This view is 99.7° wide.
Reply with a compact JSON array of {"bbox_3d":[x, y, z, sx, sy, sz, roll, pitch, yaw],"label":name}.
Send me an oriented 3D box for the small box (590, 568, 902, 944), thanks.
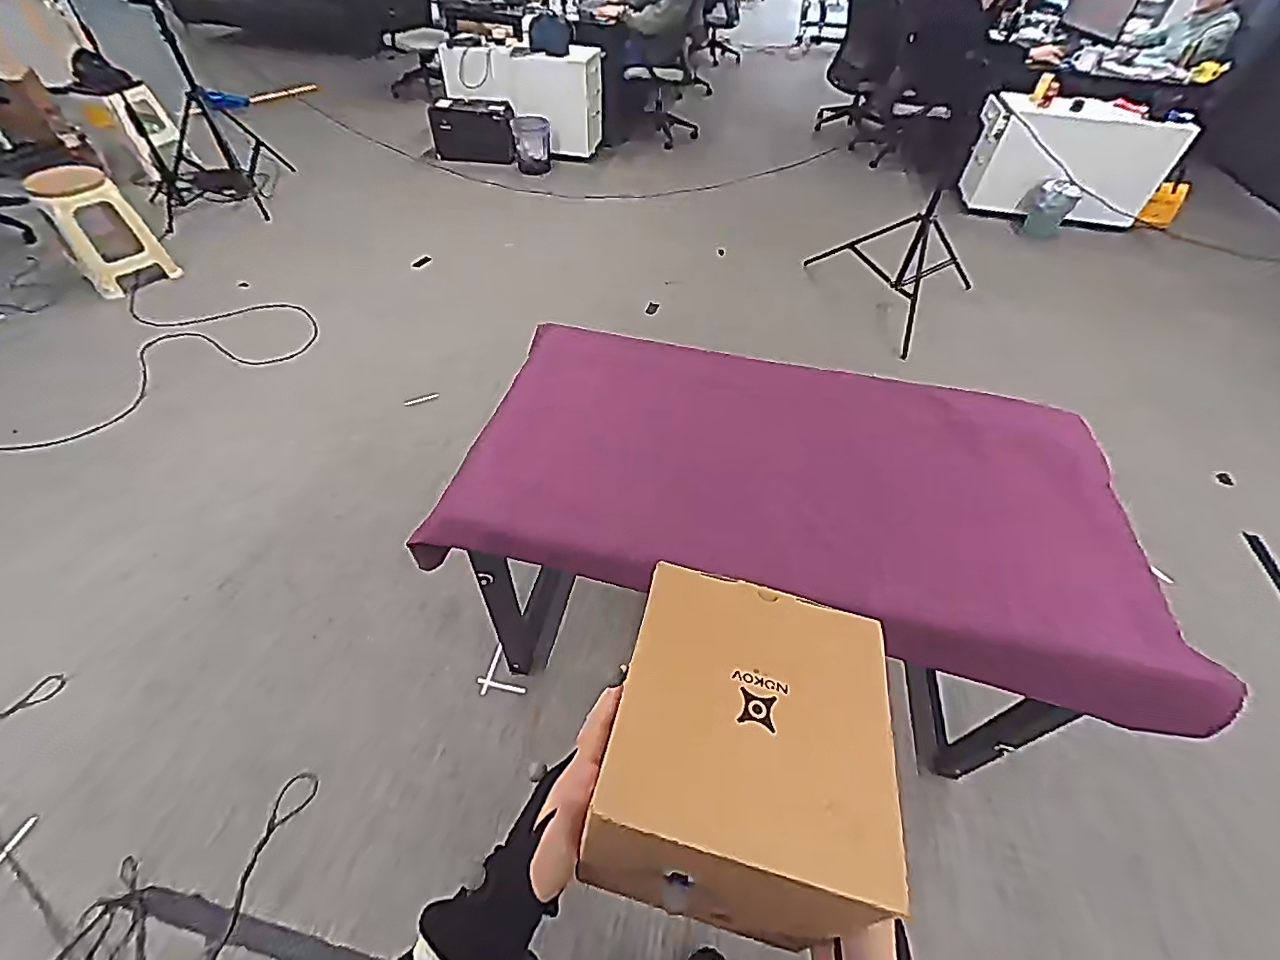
[{"bbox_3d":[0.065,0.199,0.394,0.168,0.176,0.179,14,42,5],"label":"small box"}]
